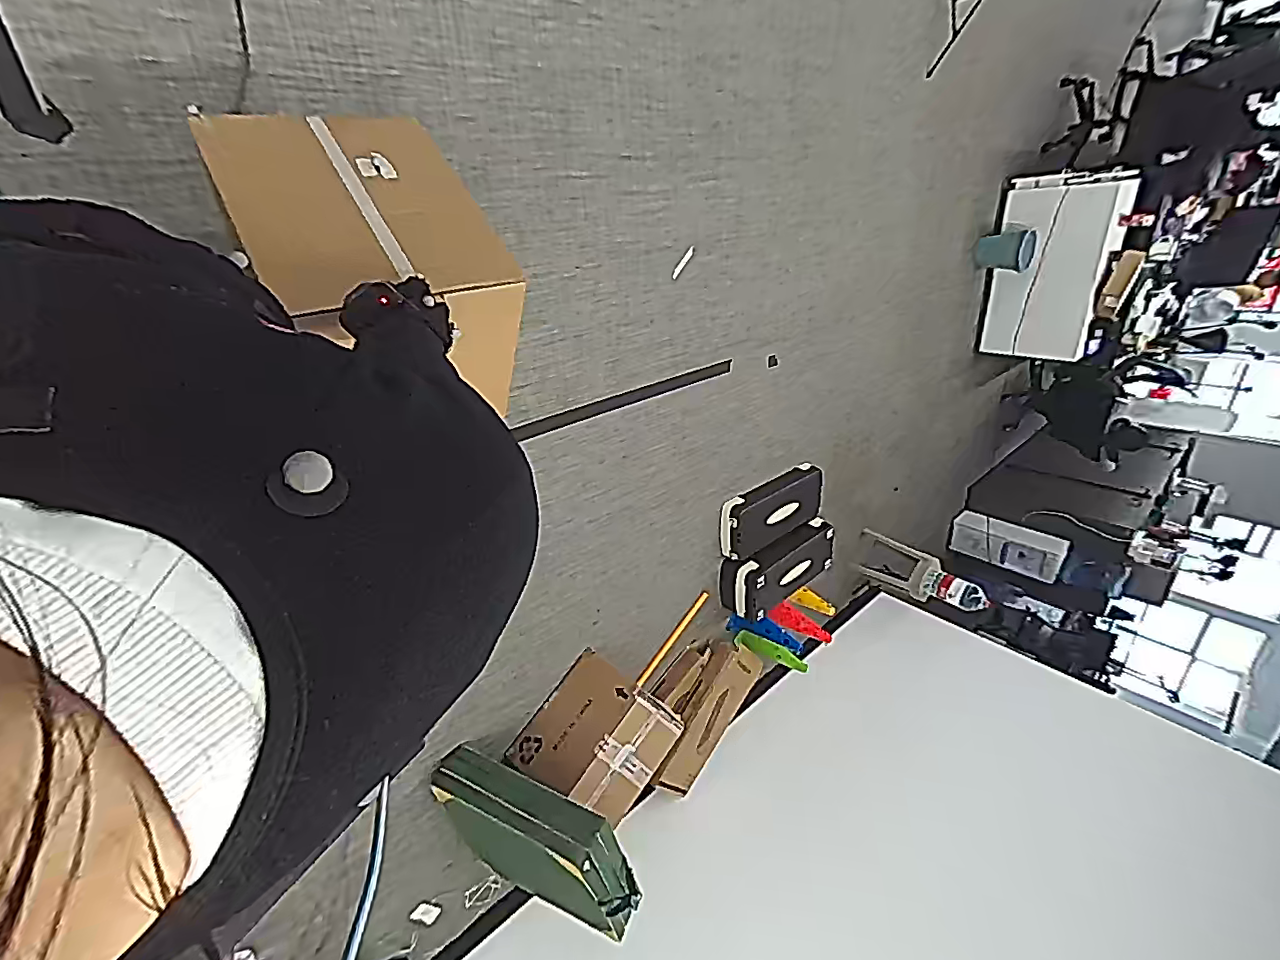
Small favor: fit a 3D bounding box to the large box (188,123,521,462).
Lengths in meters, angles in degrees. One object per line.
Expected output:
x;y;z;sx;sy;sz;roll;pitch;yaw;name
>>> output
-0.439;-0.304;0.879;0.320;0.408;0.320;-23;158;-33;large box
